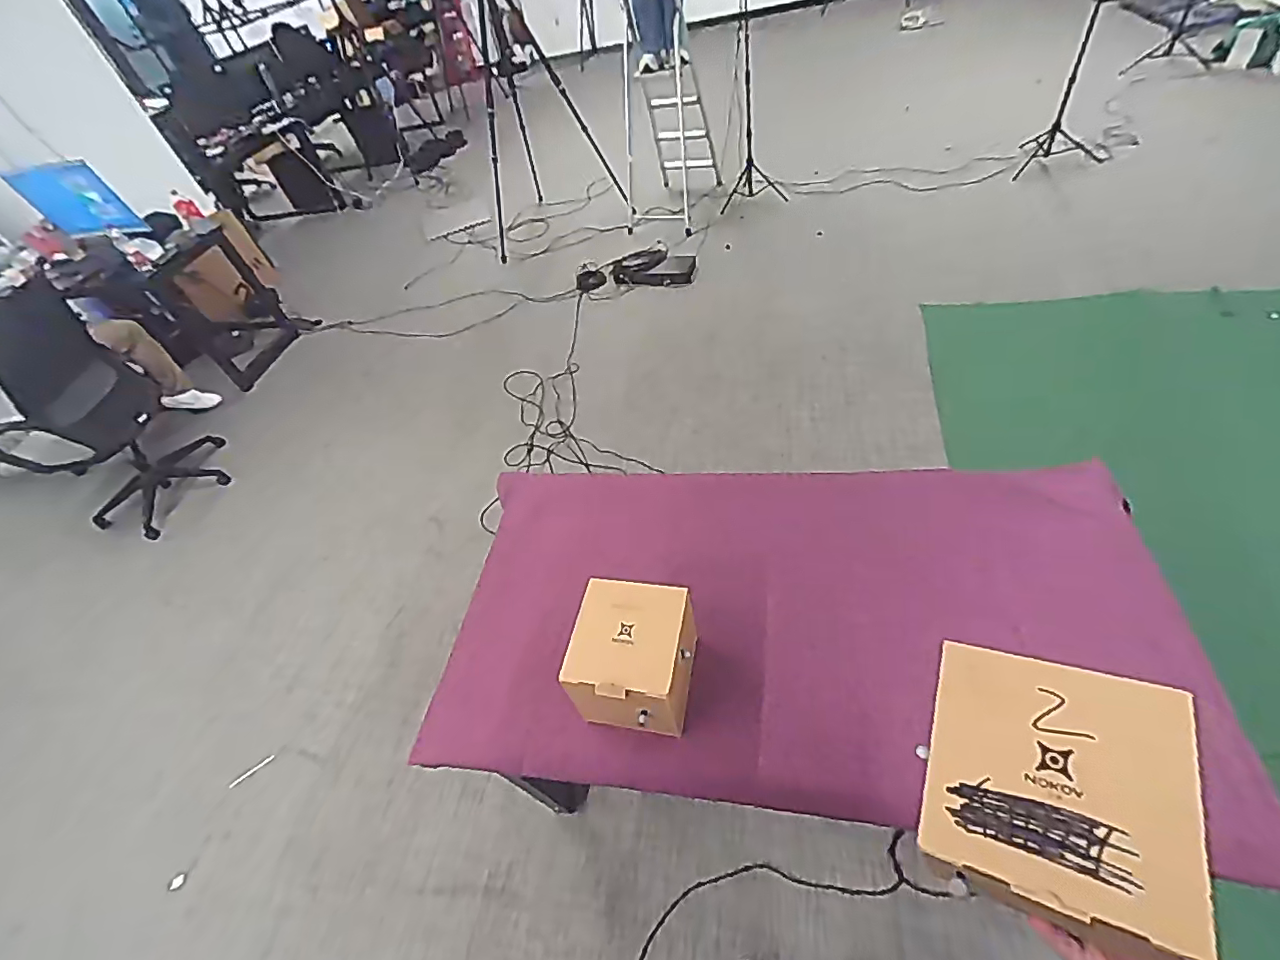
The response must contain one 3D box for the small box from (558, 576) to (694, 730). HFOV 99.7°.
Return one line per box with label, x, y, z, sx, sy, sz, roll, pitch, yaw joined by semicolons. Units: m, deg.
small box;-0.010;0.280;0.872;0.168;0.176;0.179;4;48;16
